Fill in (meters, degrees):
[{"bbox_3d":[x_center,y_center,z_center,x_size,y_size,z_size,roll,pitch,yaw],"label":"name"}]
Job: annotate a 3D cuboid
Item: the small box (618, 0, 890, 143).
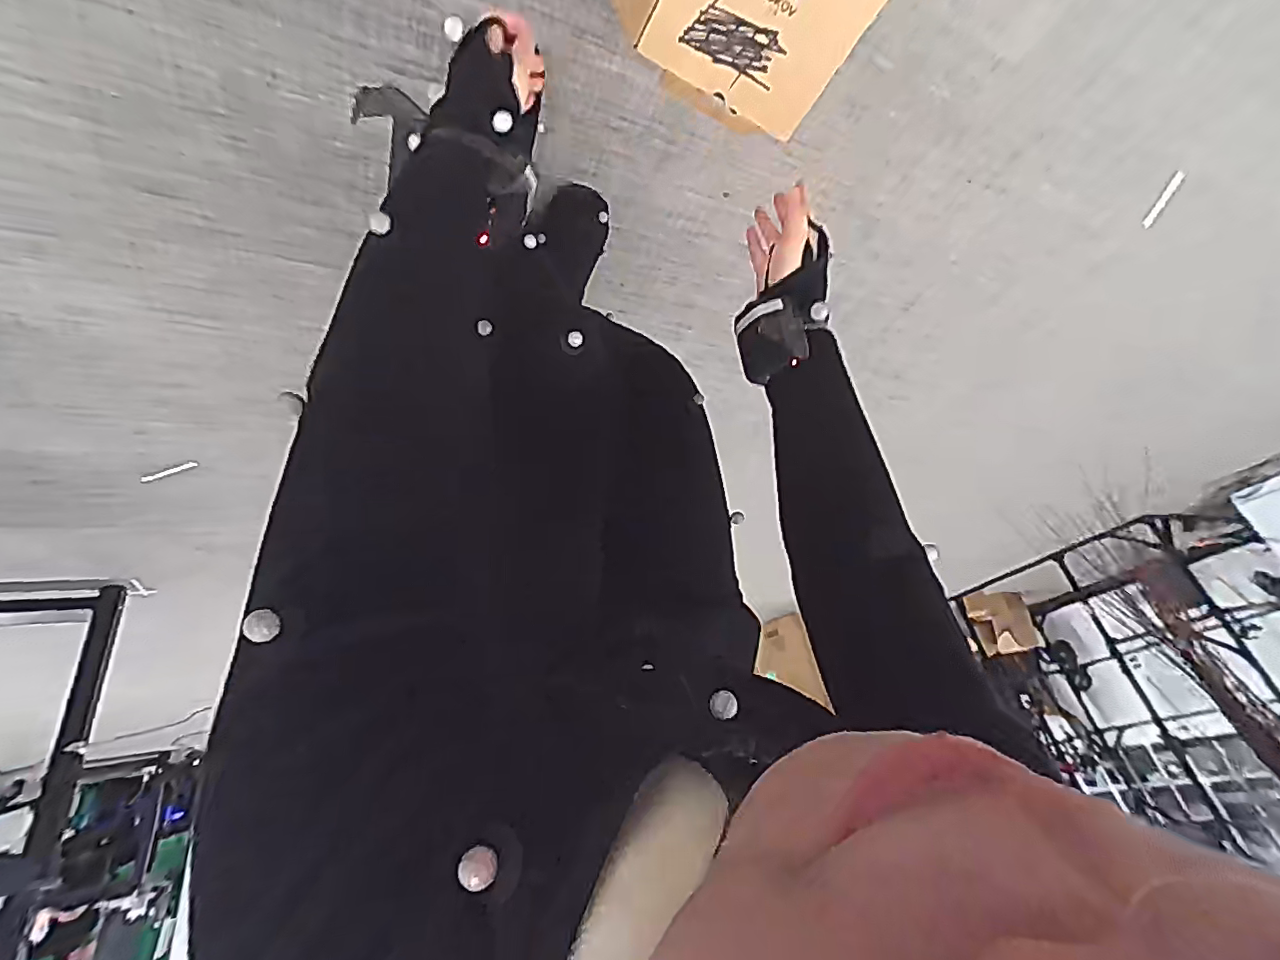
[{"bbox_3d":[0.089,-0.428,0.430,0.168,0.176,0.179,7,145,-33],"label":"small box"}]
